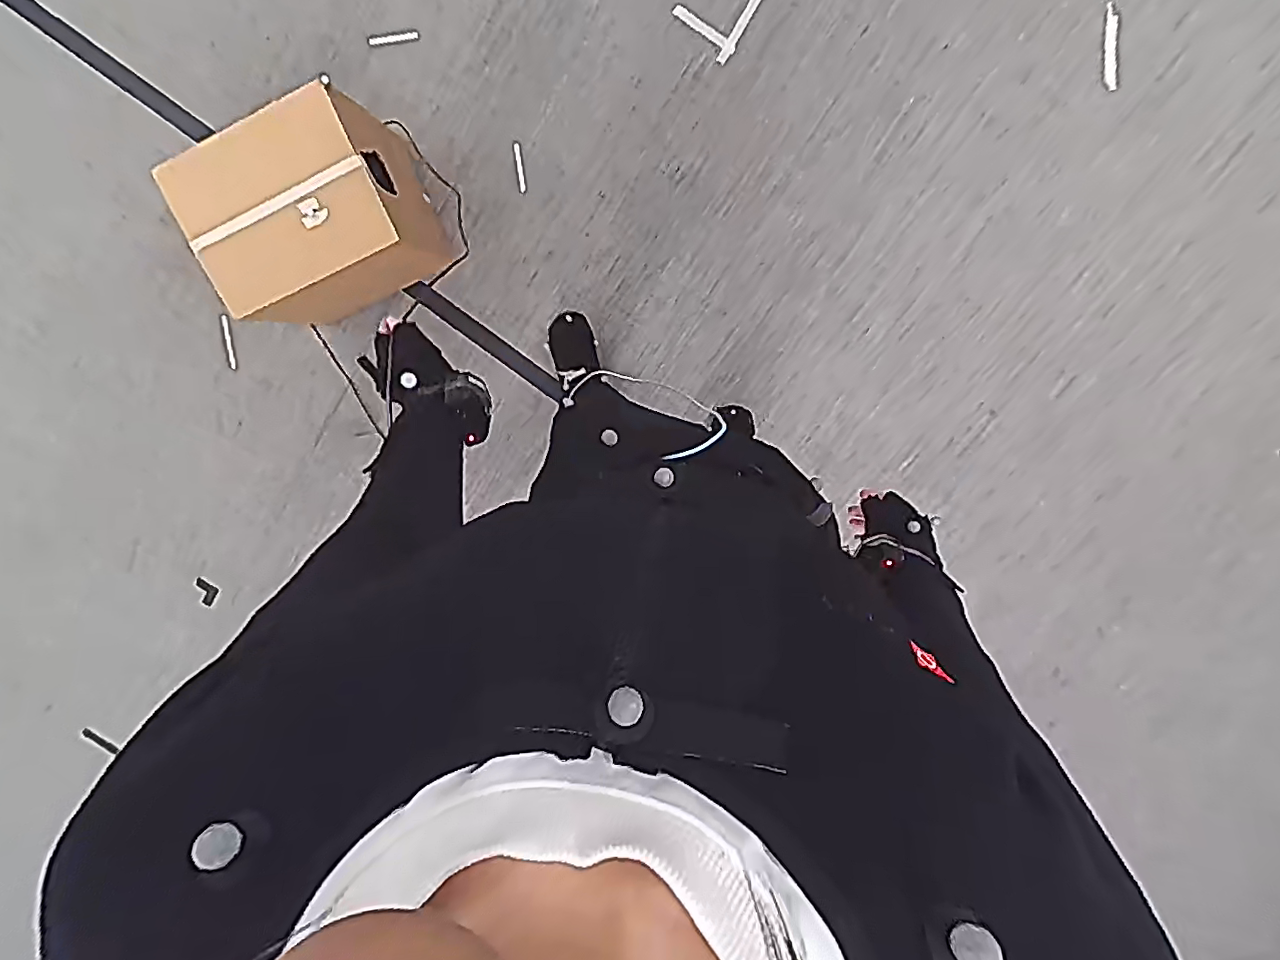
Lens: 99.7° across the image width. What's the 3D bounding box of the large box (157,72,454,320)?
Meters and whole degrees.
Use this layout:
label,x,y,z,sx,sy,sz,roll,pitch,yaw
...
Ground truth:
label,x,y,z,sx,sy,sz,roll,pitch,yaw
large box,-0.709,-0.589,1.209,0.408,0.320,0.320,-21,103,7
